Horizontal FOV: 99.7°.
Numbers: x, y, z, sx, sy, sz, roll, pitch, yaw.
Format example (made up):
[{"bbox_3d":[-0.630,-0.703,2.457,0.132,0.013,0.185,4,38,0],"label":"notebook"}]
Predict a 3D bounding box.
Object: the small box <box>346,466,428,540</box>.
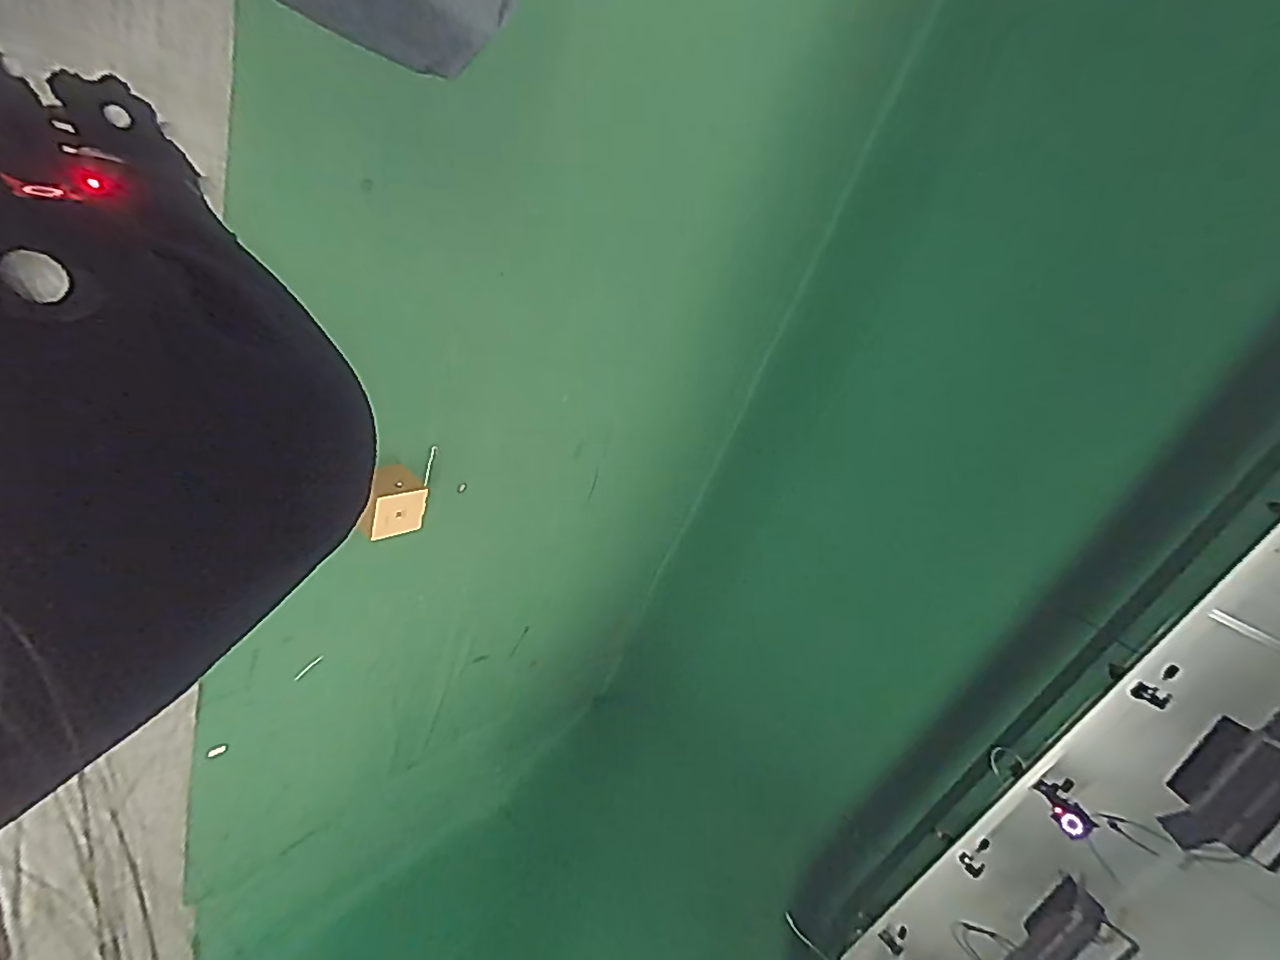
[{"bbox_3d":[-0.830,0.067,1.774,0.179,0.176,0.168,-15,132,-52],"label":"small box"}]
